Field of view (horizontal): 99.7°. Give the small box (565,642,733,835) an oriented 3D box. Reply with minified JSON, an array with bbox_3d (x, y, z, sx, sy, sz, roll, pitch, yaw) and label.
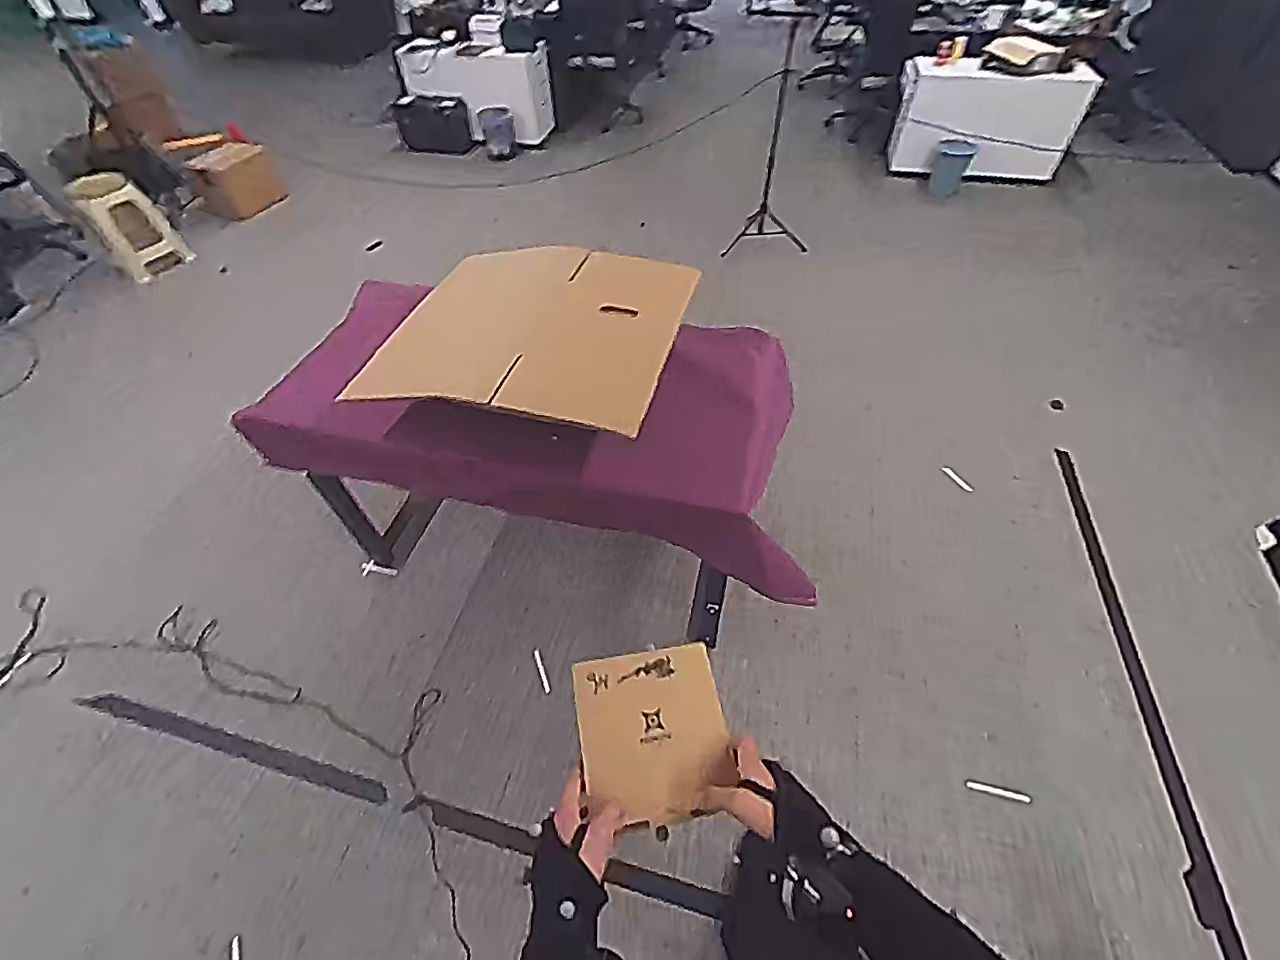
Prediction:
[{"bbox_3d":[0.001,0.324,0.675,0.168,0.176,0.179,-7,57,-10],"label":"small box"}]
